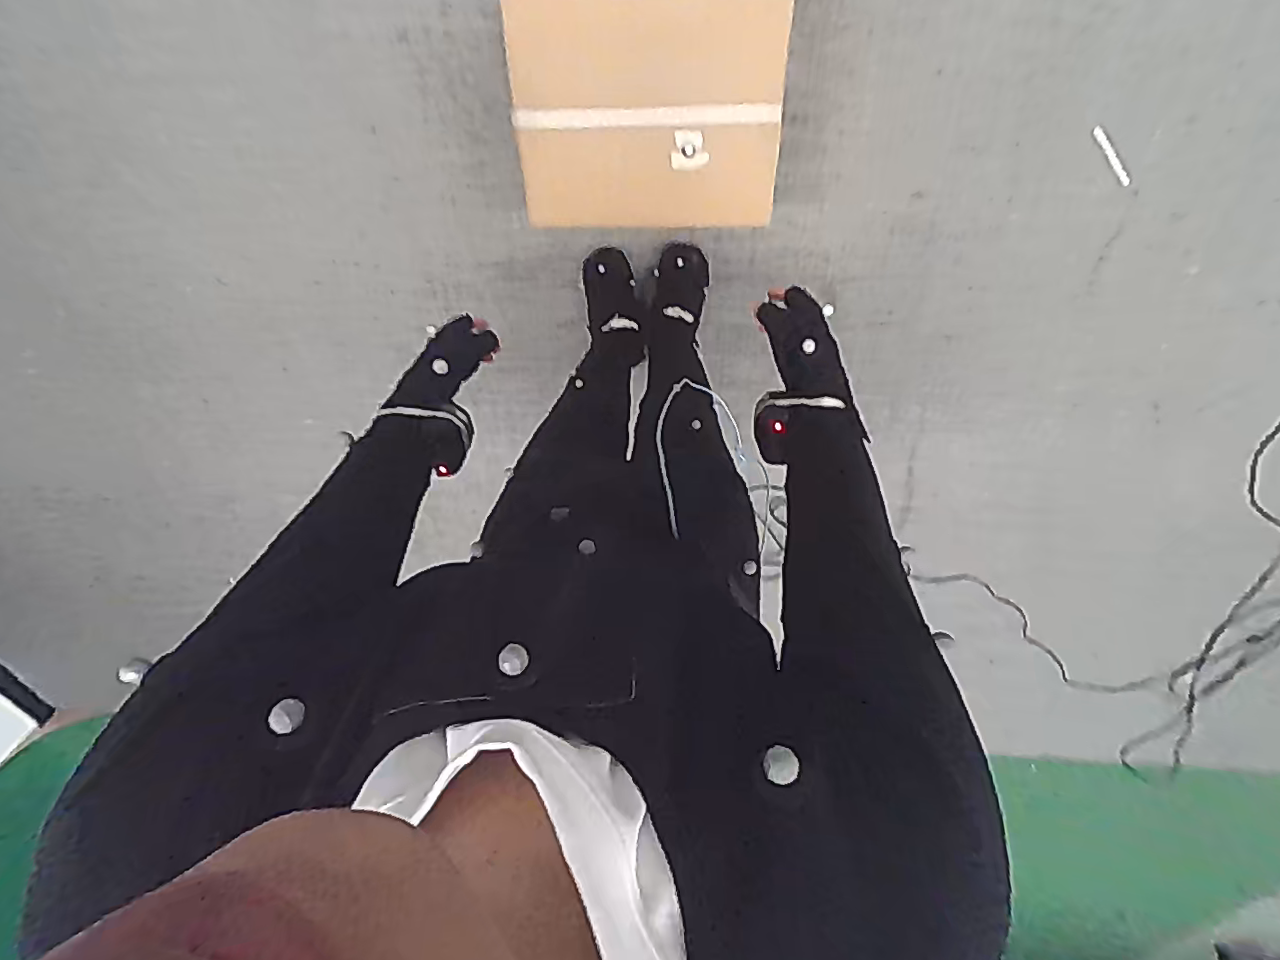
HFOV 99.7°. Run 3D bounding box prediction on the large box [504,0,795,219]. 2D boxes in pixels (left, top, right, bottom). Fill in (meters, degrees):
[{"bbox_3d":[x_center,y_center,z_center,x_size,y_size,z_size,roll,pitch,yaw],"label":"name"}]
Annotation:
[{"bbox_3d":[0.023,-0.648,0.923,0.408,0.320,0.320,2,127,4],"label":"large box"}]
